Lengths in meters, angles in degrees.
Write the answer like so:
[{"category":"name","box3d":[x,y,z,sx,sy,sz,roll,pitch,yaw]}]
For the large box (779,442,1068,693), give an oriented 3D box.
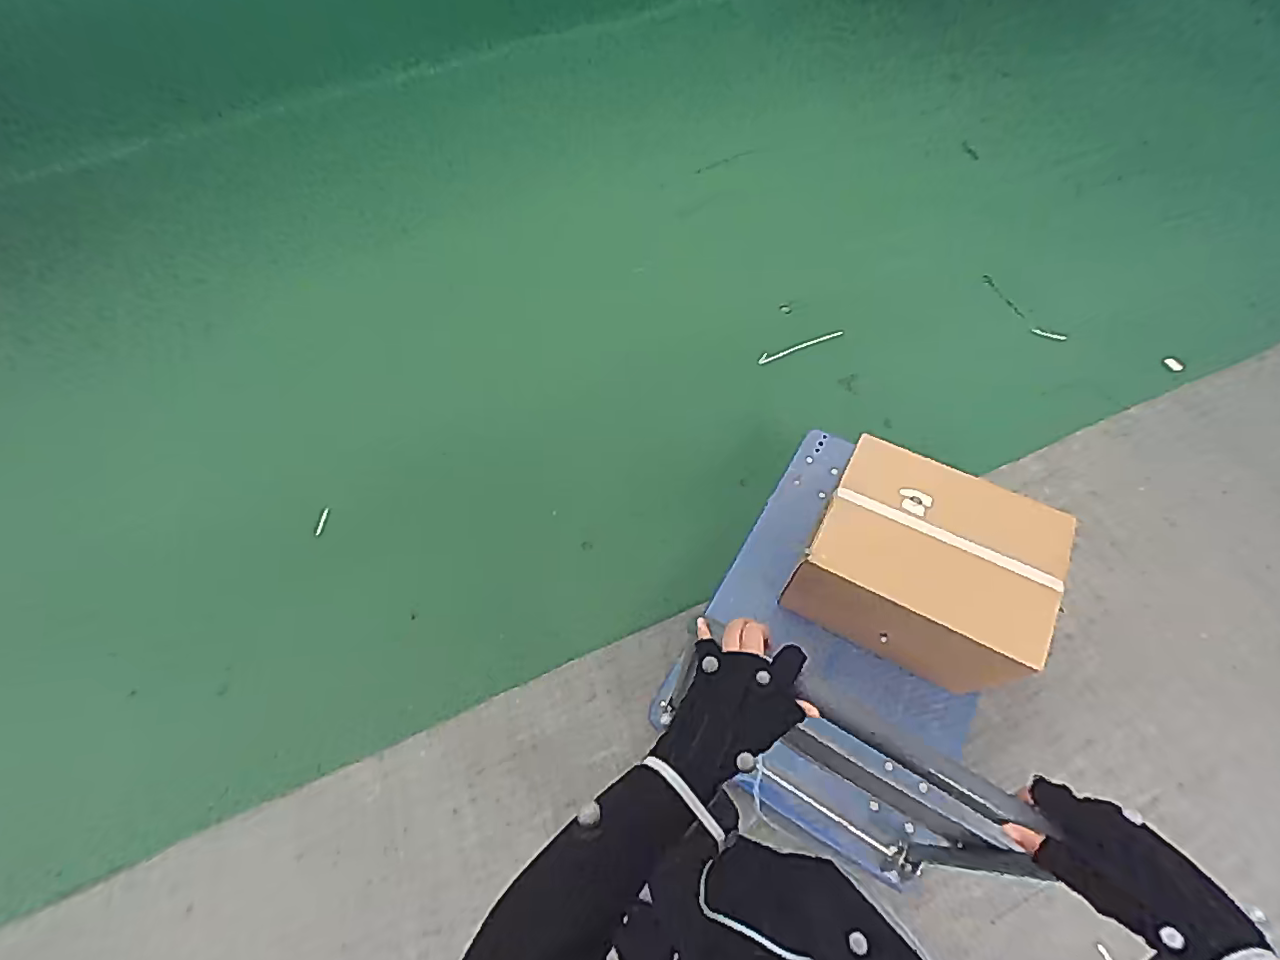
[{"category":"large box","box3d":[0.551,0.186,1.116,0.408,0.320,0.320,25,66,18]}]
